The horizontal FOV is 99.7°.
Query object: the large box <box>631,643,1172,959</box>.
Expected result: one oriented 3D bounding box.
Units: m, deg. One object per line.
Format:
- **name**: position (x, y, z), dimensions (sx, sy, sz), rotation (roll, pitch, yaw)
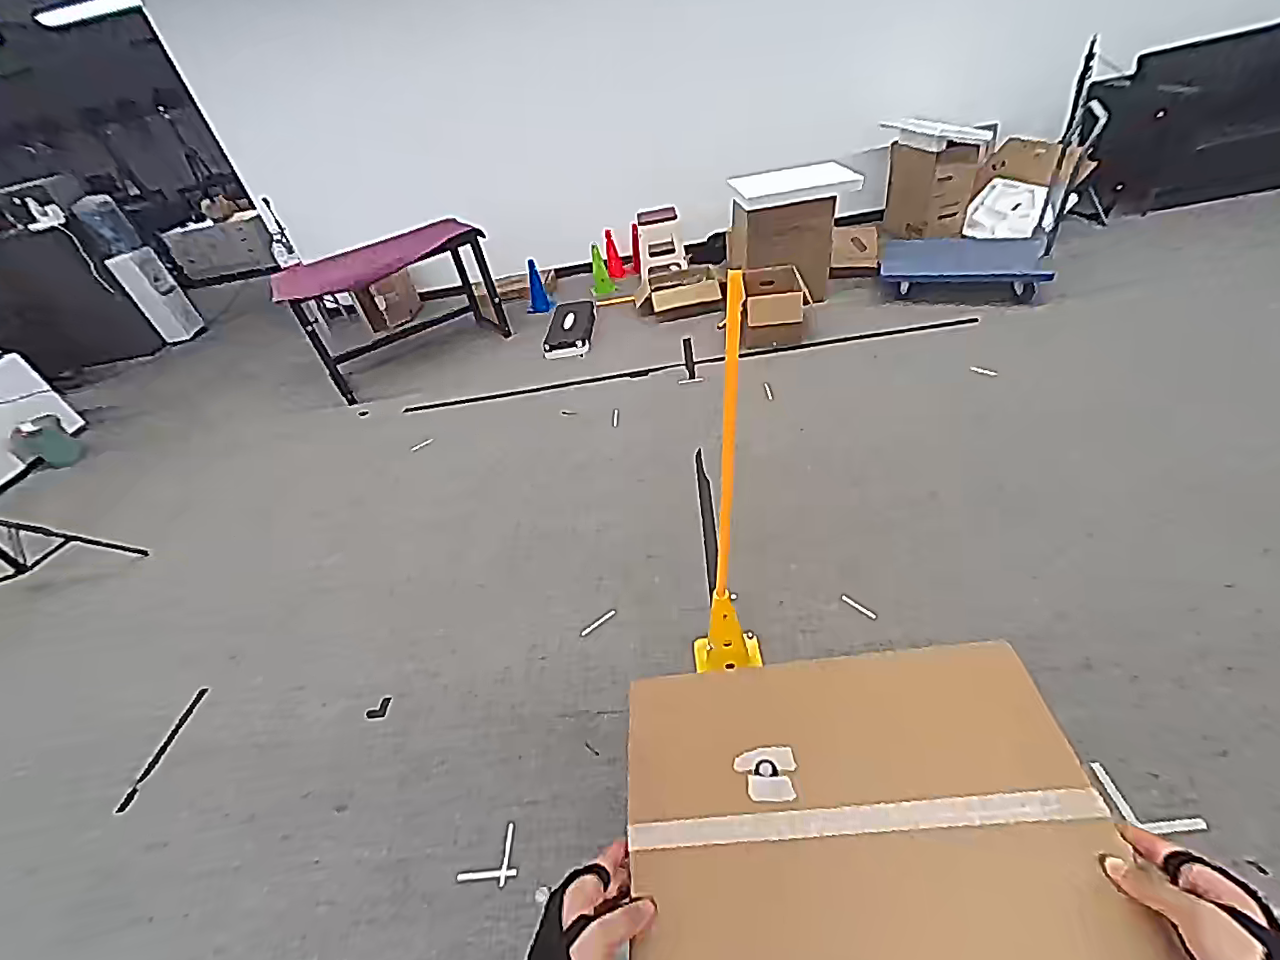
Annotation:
- **large box**: position (0.221, 0.418, 0.588), dimensions (0.408, 0.320, 0.320), rotation (-10, 41, 8)
